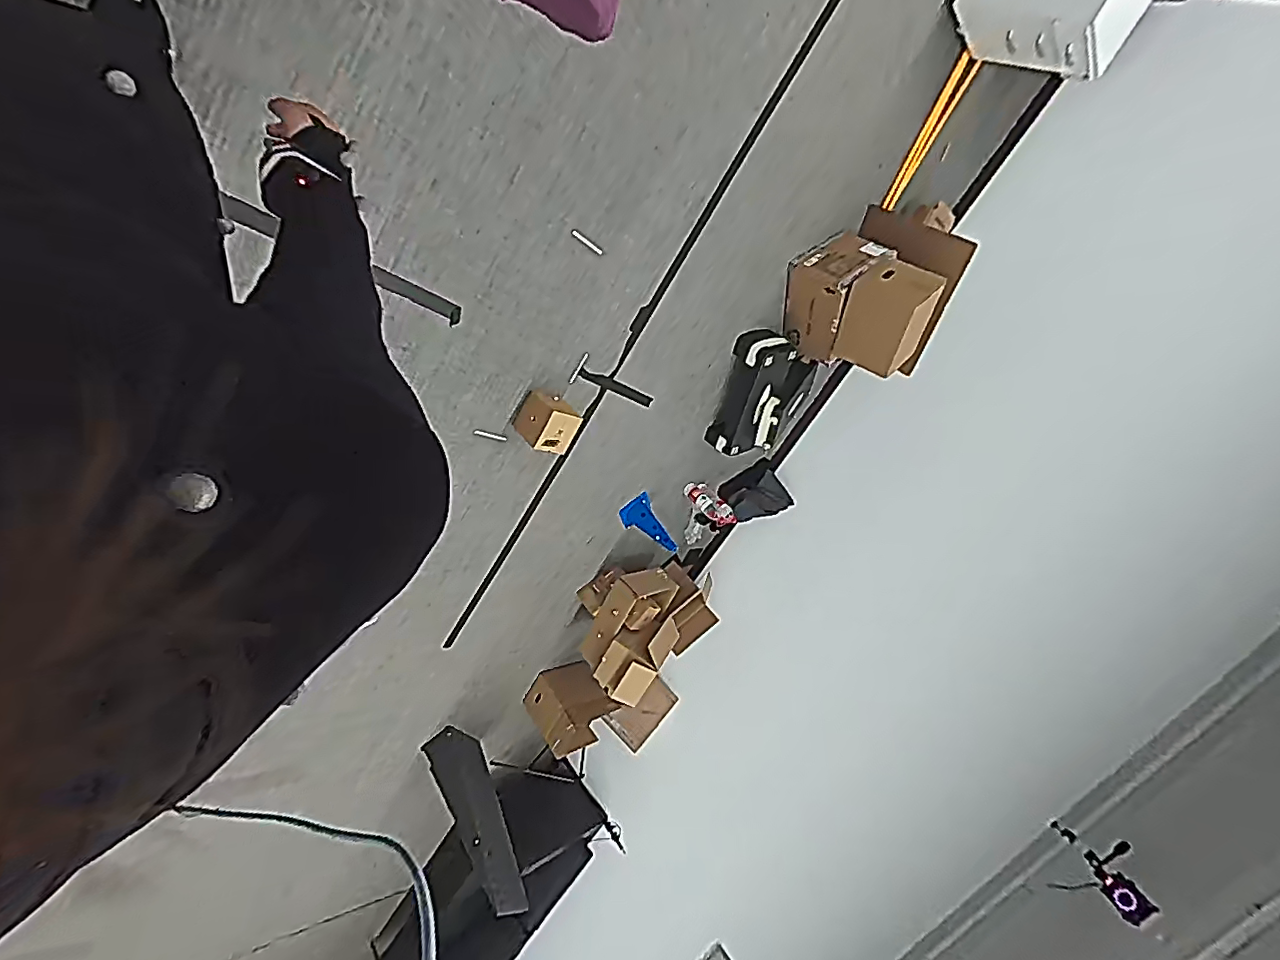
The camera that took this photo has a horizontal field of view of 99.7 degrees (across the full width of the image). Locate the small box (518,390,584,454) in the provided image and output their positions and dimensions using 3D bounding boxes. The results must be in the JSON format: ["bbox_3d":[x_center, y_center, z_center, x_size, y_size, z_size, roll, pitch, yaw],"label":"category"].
[{"bbox_3d":[-0.360,-0.230,2.144,0.168,0.176,0.179,9,118,-52],"label":"small box"}]
